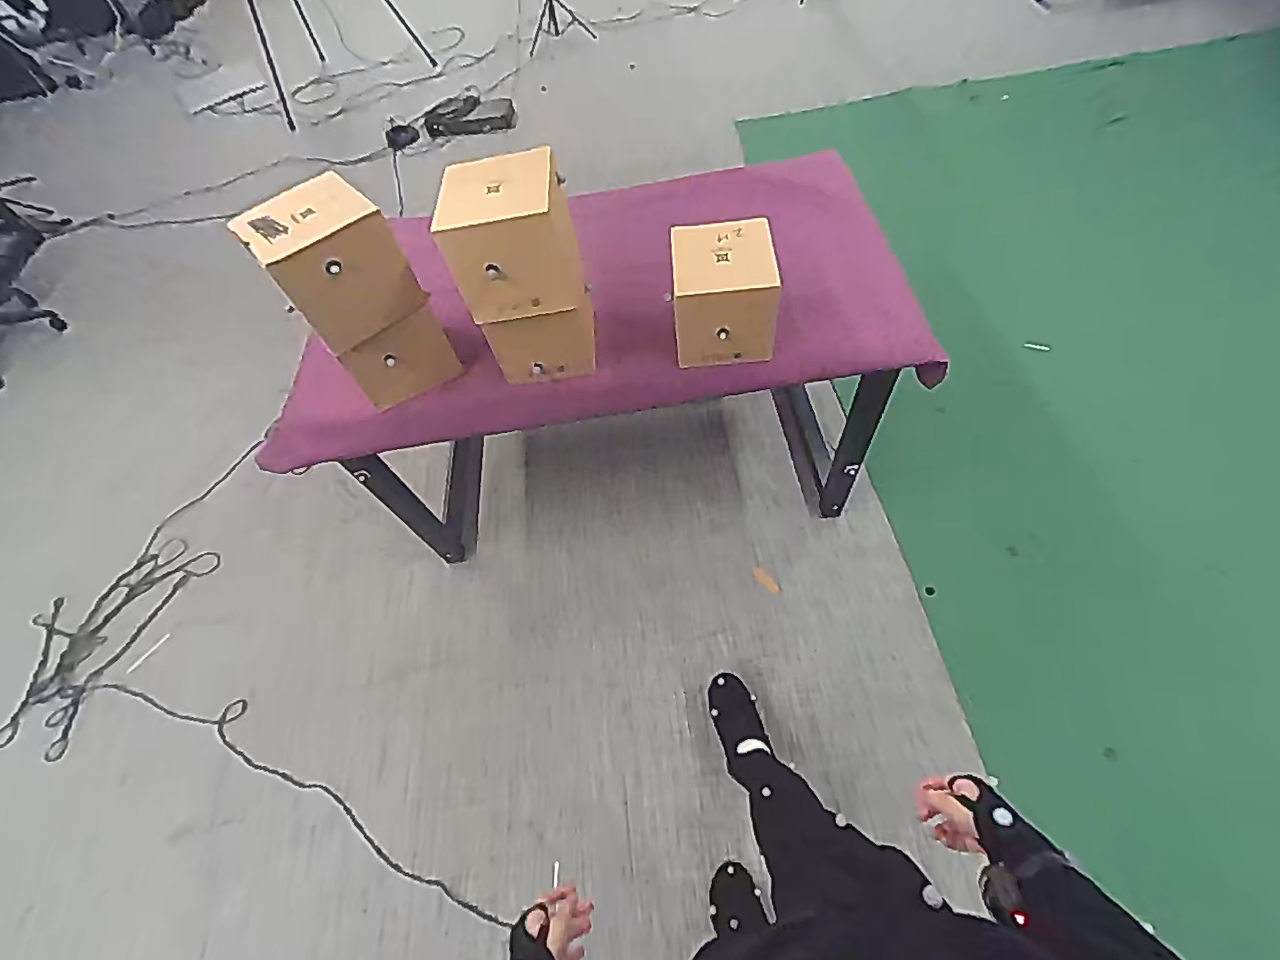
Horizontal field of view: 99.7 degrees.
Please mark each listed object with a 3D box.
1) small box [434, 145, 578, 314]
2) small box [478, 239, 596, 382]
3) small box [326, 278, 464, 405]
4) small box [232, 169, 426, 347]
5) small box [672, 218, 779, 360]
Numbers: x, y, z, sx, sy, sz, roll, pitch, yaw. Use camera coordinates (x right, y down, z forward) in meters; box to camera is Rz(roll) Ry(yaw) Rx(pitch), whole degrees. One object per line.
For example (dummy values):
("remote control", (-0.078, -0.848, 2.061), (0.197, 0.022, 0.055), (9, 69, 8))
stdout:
("small box", (-0.193, -0.374, 0.833), (0.168, 0.176, 0.179), (-8, 56, 4))
("small box", (-0.176, -0.303, 0.979), (0.168, 0.176, 0.179), (-7, 57, 5))
("small box", (-0.455, -0.269, 0.994), (0.179, 0.176, 0.168), (-29, 59, -10))
("small box", (-0.474, -0.342, 0.846), (0.179, 0.176, 0.168), (-39, 61, -17))
("small box", (0.145, -0.325, 0.948), (0.168, 0.176, 0.179), (-3, 59, 5))
